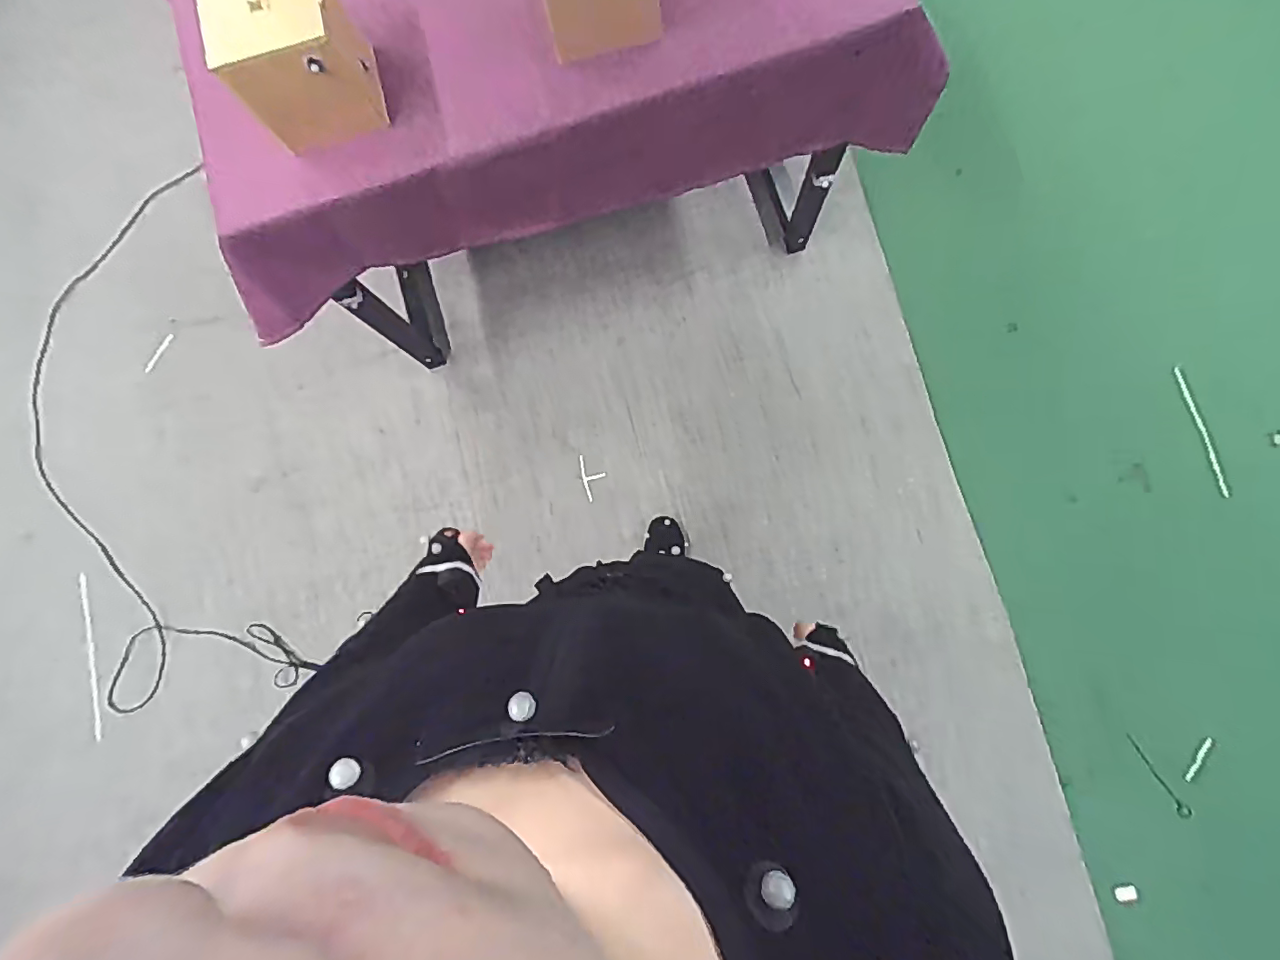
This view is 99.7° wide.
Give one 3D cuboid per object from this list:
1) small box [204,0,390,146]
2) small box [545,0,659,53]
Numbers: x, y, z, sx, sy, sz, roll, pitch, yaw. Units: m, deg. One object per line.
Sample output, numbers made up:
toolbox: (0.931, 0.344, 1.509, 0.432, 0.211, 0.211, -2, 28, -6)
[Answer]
small box: (-0.529, -0.668, 0.848, 0.179, 0.176, 0.168, -16, 81, 1)
small box: (-0.073, -0.809, 0.830, 0.179, 0.176, 0.168, -12, 82, 3)
